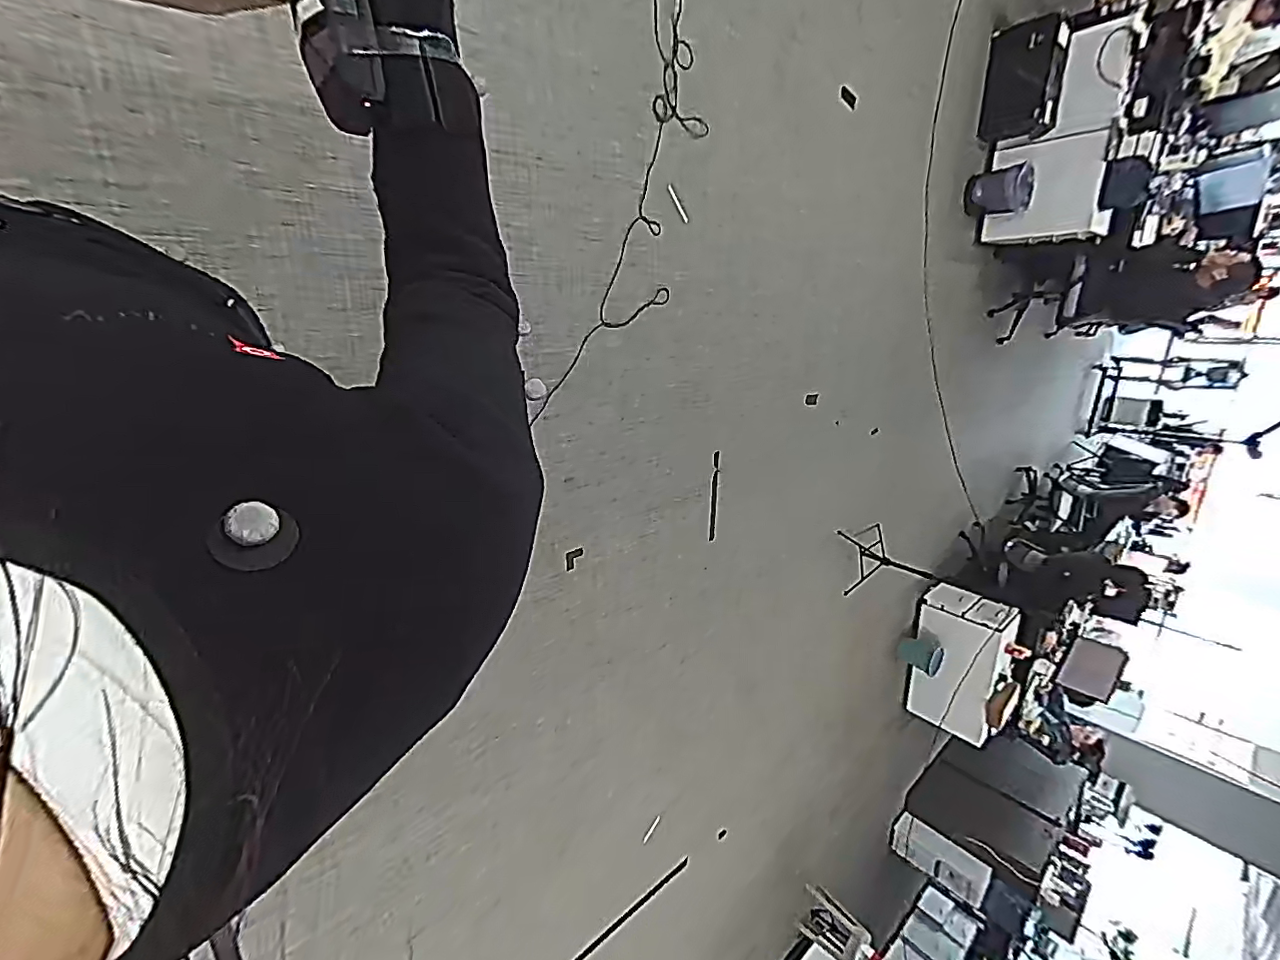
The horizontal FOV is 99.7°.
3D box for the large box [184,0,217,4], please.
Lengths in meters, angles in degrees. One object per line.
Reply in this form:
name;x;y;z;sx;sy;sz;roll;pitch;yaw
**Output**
large box;-0.437;-0.438;0.218;0.408;0.320;0.320;-20;134;-36
